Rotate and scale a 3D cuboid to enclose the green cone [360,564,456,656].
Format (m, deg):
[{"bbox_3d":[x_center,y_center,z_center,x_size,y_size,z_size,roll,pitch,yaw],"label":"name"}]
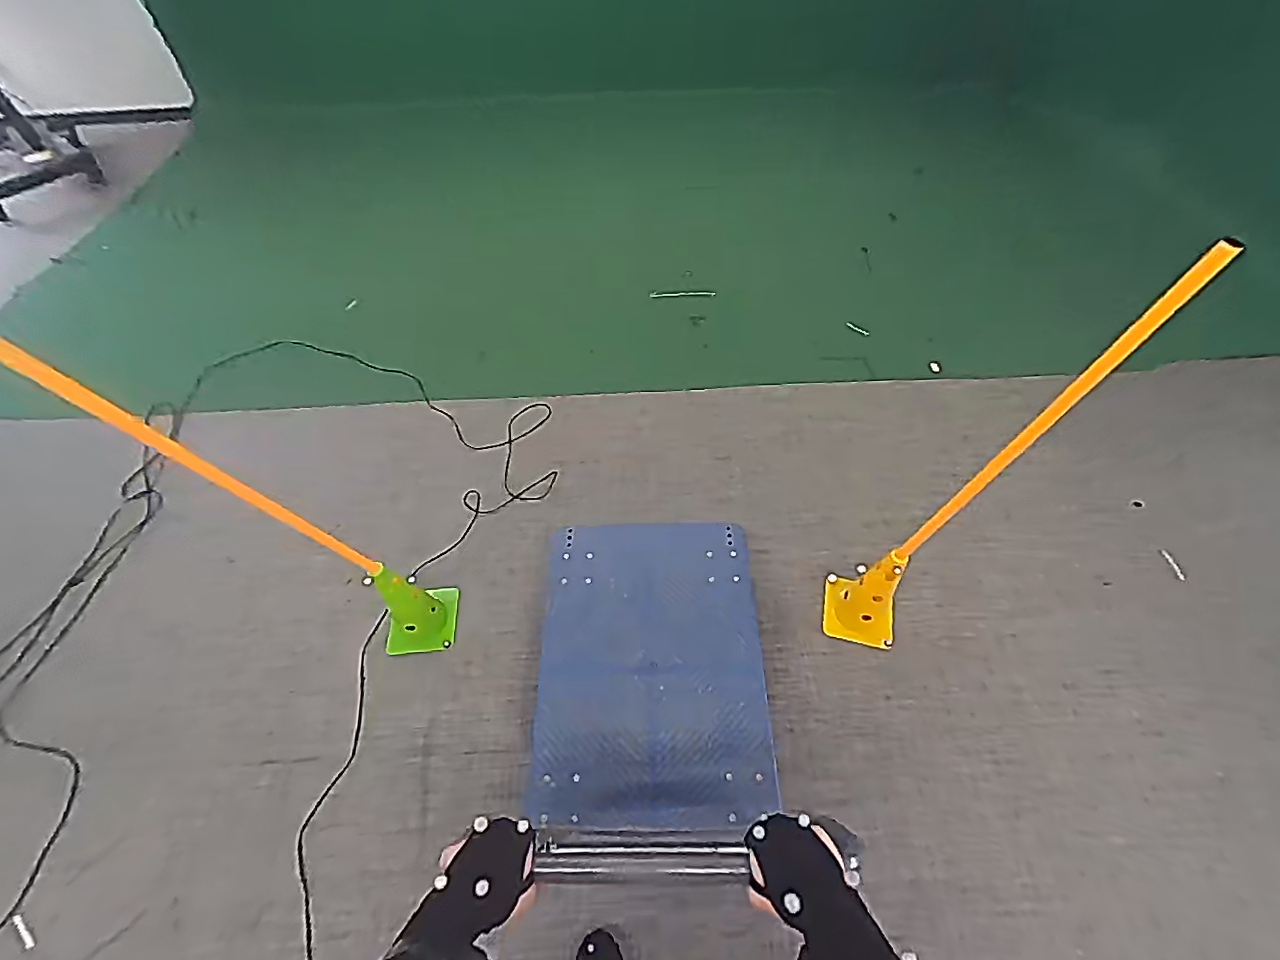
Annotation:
[{"bbox_3d":[-0.680,0.332,1.525,0.202,0.368,0.200,-7,53,-1],"label":"green cone"}]
